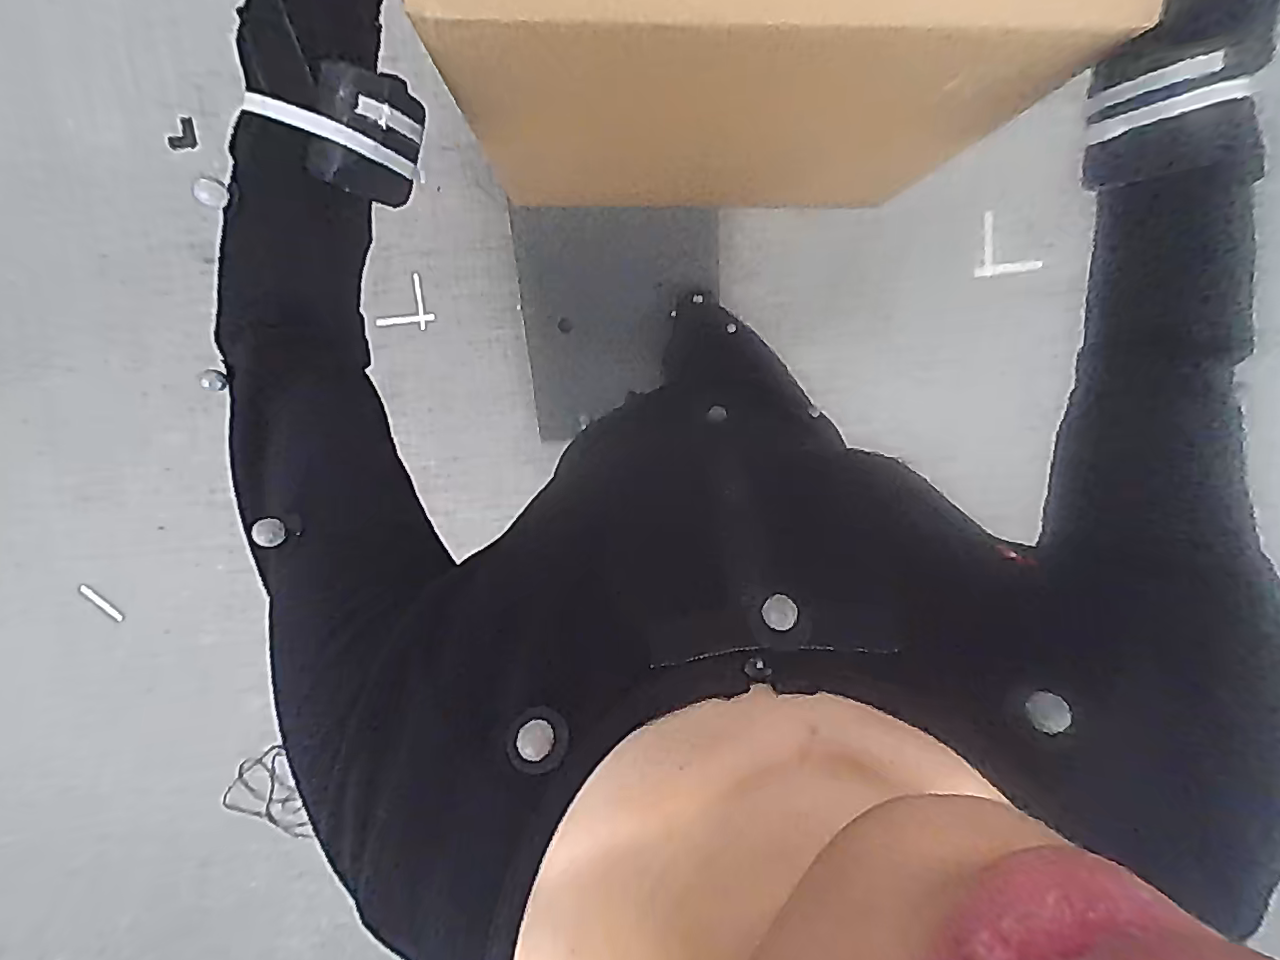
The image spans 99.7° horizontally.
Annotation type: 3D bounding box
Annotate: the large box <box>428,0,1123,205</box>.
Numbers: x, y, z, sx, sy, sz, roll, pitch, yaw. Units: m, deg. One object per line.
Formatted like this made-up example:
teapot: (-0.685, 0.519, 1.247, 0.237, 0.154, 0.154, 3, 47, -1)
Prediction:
large box: (0.067, -0.432, 0.424, 0.408, 0.320, 0.320, -2, 100, -3)

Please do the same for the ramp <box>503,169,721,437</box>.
ramp: (-0.060, -0.600, 1.286, 0.509, 0.206, 0.991, -7, 101, -1)
